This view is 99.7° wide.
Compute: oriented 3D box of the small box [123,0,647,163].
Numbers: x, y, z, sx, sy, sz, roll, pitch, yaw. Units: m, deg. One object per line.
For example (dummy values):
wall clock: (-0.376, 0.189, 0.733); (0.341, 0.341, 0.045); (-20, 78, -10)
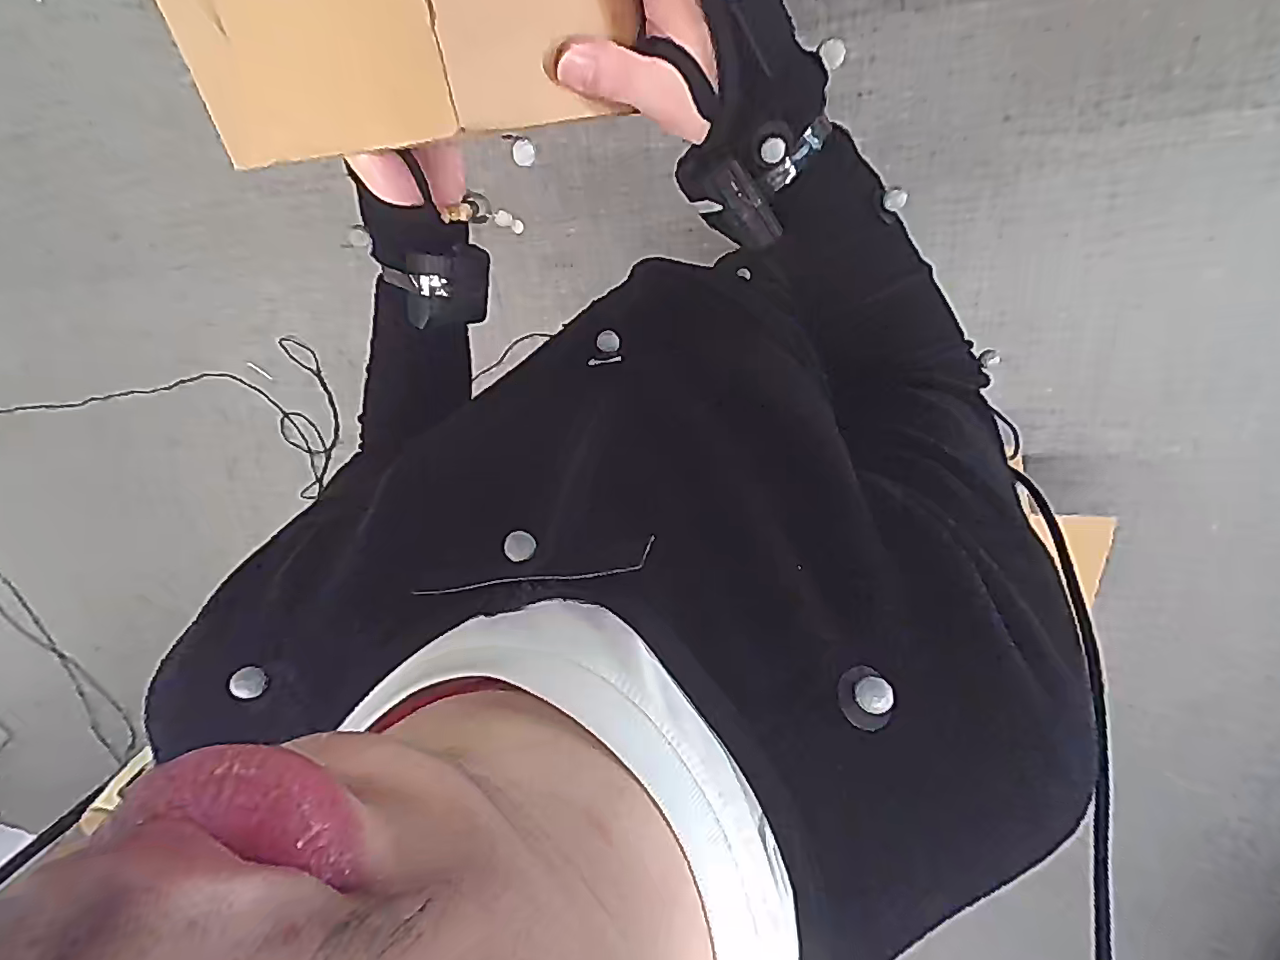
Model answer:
small box: (-0.109, -0.247, 0.233); (0.179, 0.176, 0.168); (14, 130, 30)

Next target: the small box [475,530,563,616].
small box: (-0.330, 0.259, 1.517); (0.168, 0.176, 0.179); (-7, 111, 14)
